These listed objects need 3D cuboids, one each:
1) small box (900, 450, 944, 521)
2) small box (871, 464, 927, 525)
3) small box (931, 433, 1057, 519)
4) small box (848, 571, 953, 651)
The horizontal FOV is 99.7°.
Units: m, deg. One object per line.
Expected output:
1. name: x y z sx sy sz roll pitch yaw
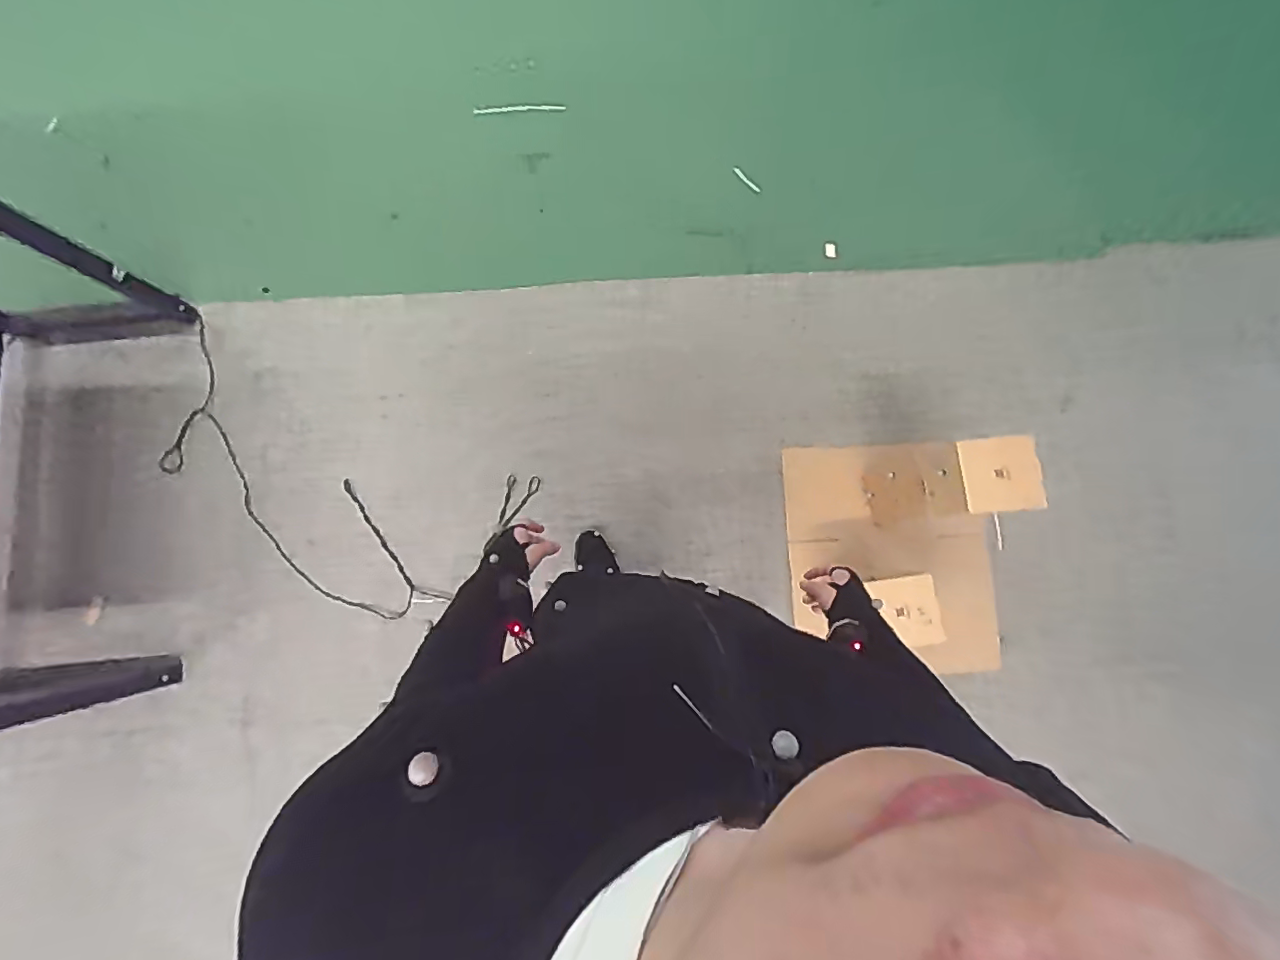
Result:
1. small box: 0.798 0.014 1.404 0.179 0.176 0.168 -6 82 -1
2. small box: 0.800 0.036 1.565 0.179 0.176 0.168 -9 82 0
3. small box: 0.798 -0.004 1.242 0.179 0.176 0.168 -5 82 -1
4. small box: 0.640 0.324 1.357 0.179 0.176 0.168 -8 83 0
